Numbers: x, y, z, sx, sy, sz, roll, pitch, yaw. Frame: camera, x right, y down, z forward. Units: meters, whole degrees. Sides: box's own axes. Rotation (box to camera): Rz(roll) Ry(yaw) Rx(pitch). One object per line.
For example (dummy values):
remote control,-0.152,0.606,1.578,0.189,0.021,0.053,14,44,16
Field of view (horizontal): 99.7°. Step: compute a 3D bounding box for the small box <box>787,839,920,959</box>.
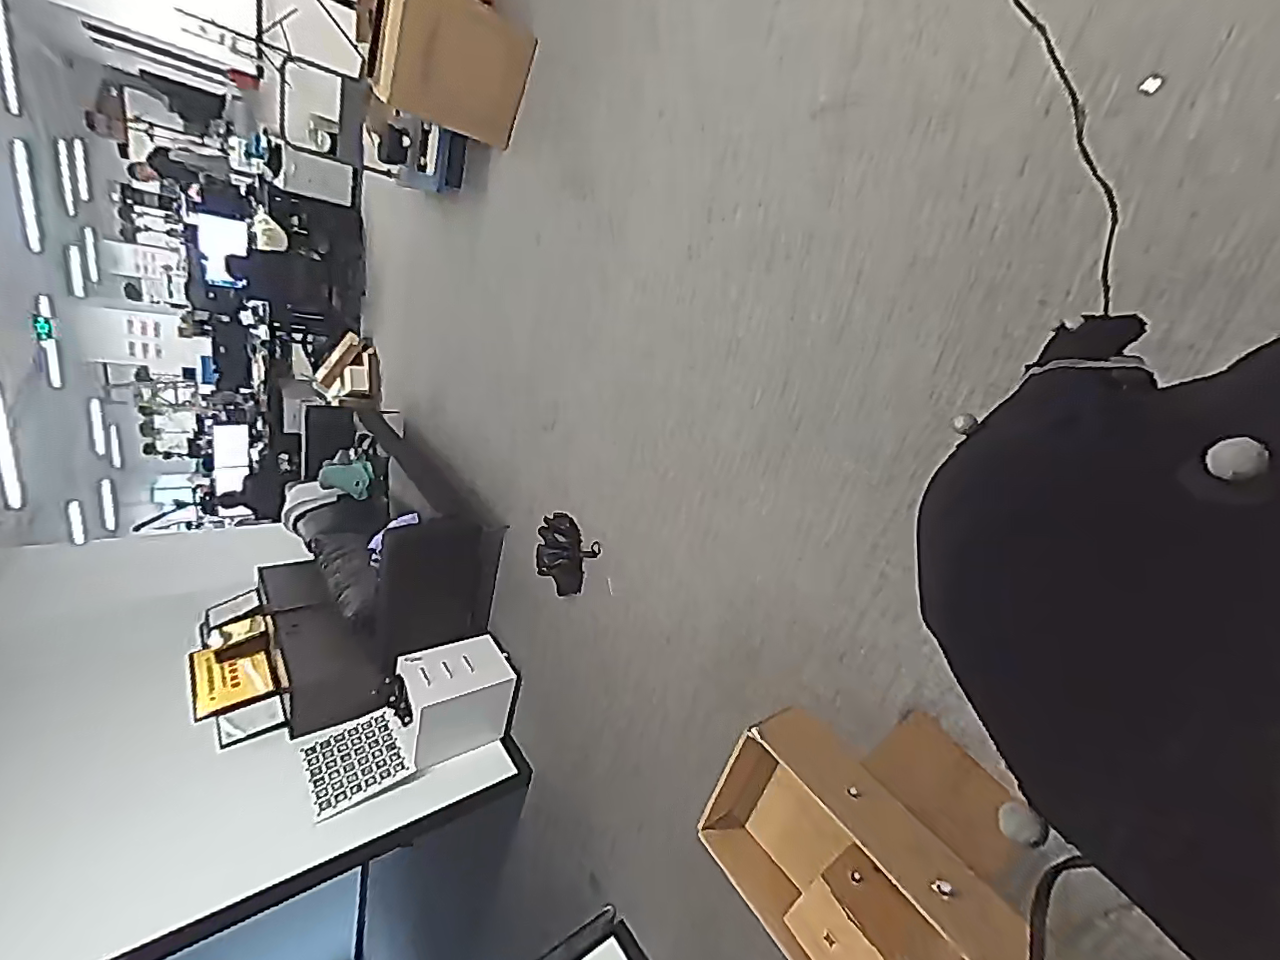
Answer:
small box,0.447,0.900,1.125,0.168,0.176,0.179,42,126,41
